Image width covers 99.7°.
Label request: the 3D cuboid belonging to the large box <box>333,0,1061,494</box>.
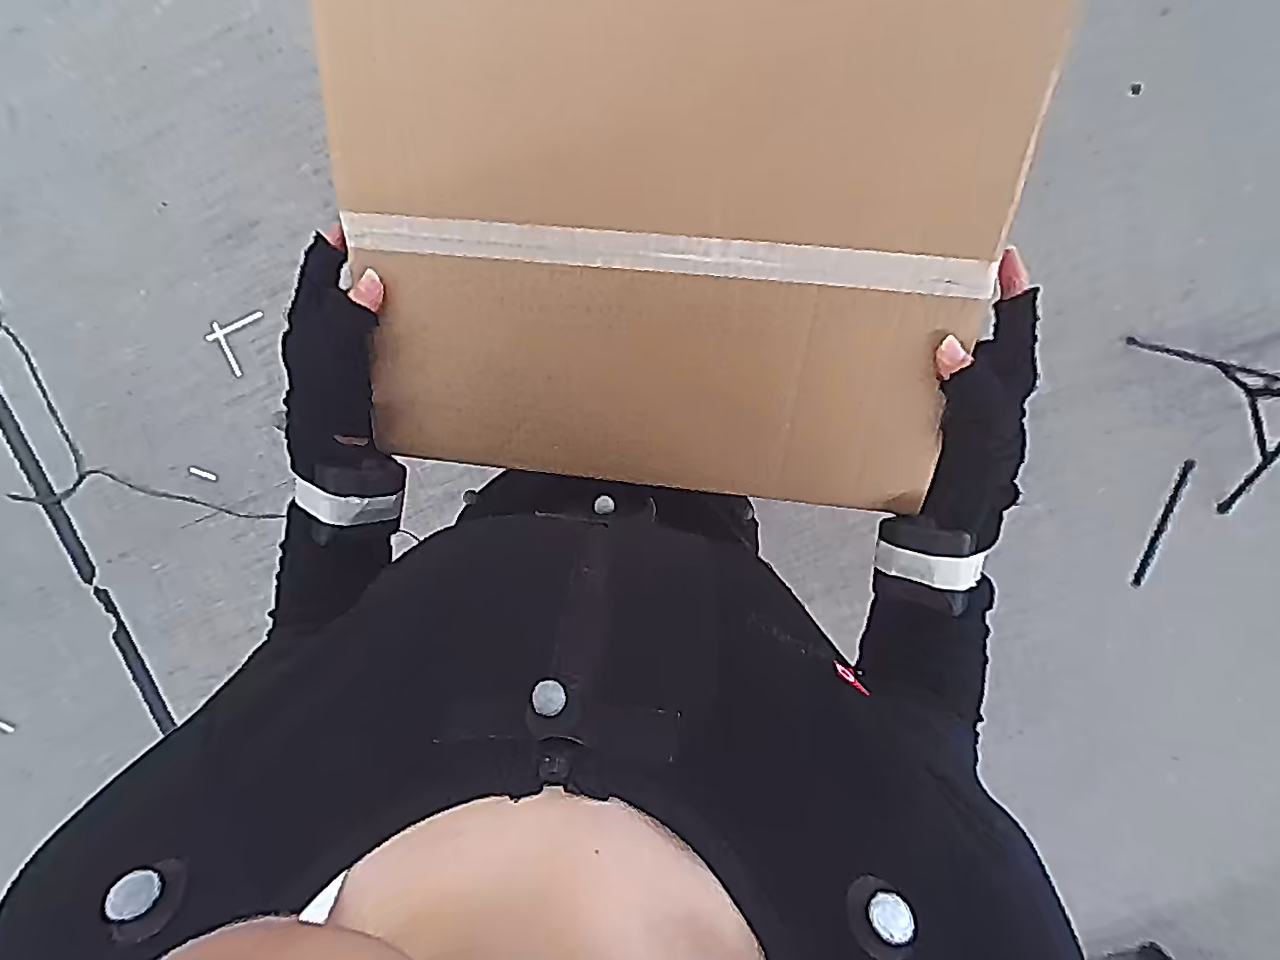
[{"bbox_3d":[0.025,-0.206,0.483,0.408,0.320,0.320,6,116,3],"label":"large box"}]
